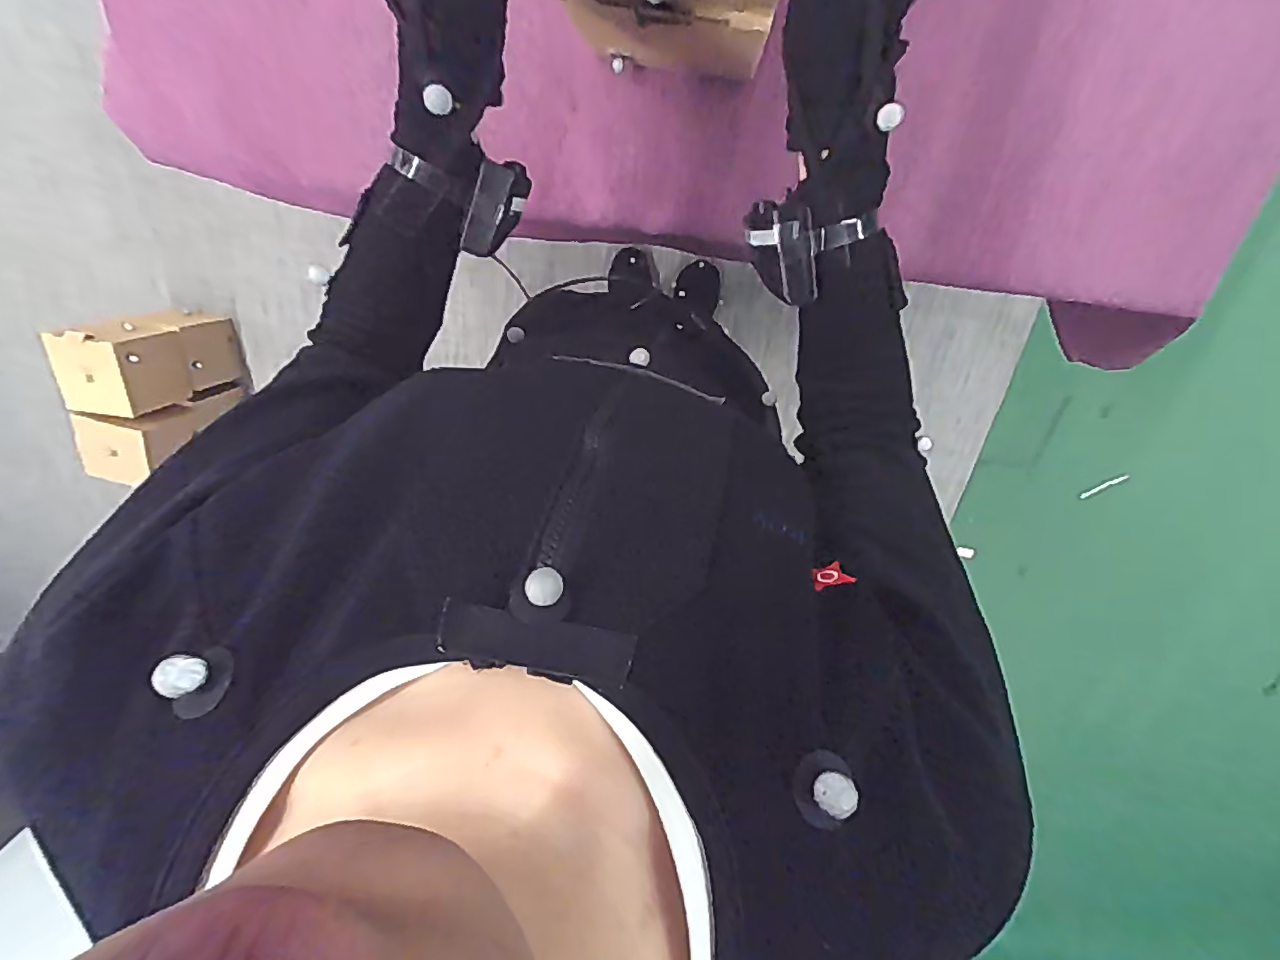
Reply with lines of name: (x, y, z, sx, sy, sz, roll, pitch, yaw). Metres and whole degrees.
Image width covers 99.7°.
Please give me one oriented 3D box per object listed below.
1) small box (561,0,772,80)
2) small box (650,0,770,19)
small box: (0.039, -0.463, 0.448, 0.168, 0.176, 0.179, 10, 114, 1)
small box: (0.022, -0.402, 0.296, 0.168, 0.176, 0.179, 11, 116, 1)
